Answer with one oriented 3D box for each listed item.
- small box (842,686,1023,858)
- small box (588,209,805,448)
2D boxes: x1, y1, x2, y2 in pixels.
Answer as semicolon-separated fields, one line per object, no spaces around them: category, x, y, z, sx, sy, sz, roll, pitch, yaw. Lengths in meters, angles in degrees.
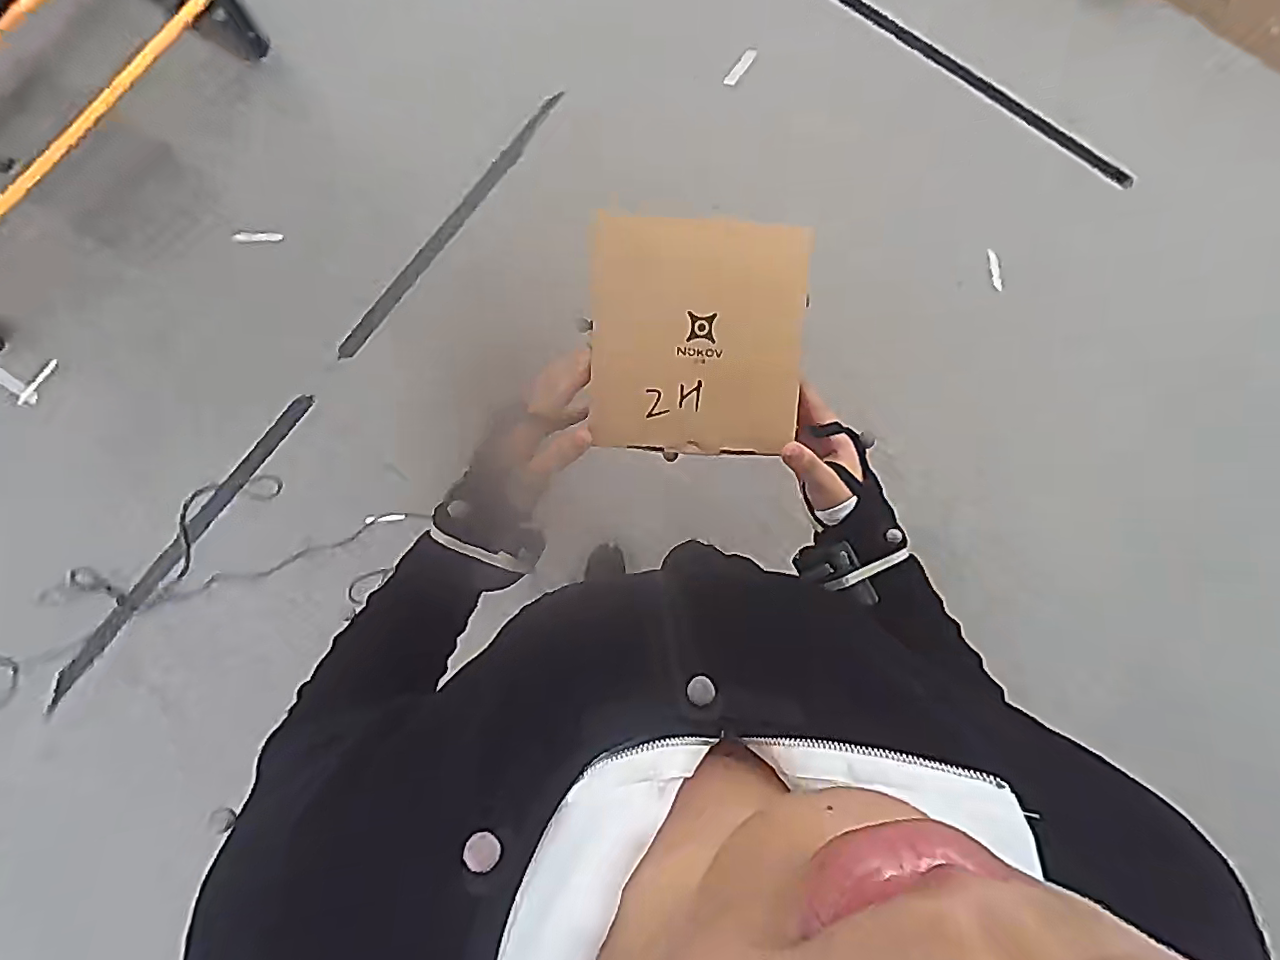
small box;0.481;0.475;0.914;0.179;0.176;0.168;32;81;6
small box;0.038;-0.121;0.497;0.168;0.176;0.179;1;96;-4
